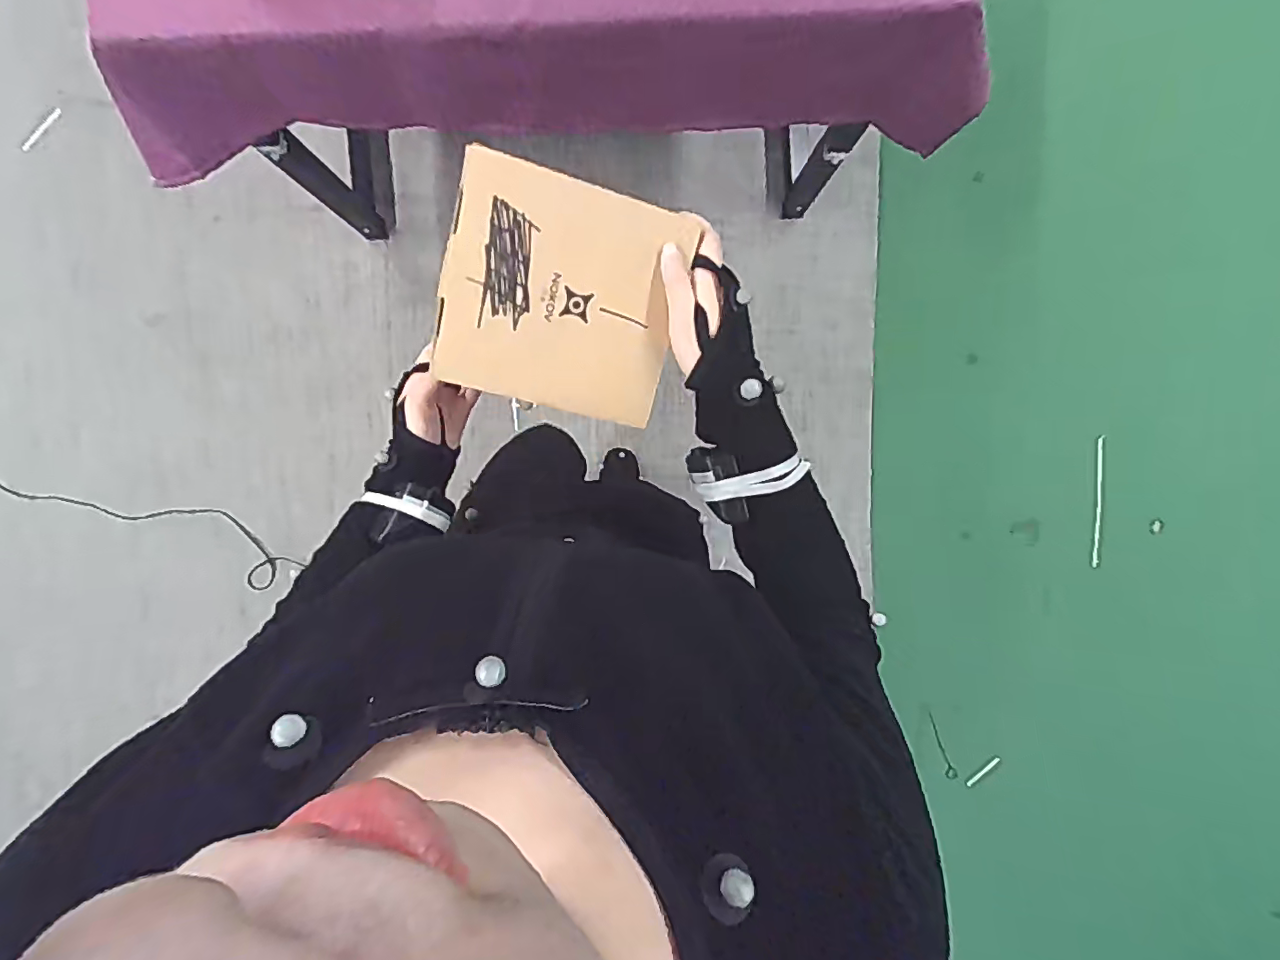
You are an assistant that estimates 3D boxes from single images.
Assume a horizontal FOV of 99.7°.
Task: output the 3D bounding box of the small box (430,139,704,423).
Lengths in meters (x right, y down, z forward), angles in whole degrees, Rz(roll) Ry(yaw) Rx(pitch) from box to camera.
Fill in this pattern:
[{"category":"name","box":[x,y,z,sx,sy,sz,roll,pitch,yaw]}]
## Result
[{"category":"small box","box":[-0.068,-0.164,0.485,0.179,0.176,0.168,13,105,-14]}]
